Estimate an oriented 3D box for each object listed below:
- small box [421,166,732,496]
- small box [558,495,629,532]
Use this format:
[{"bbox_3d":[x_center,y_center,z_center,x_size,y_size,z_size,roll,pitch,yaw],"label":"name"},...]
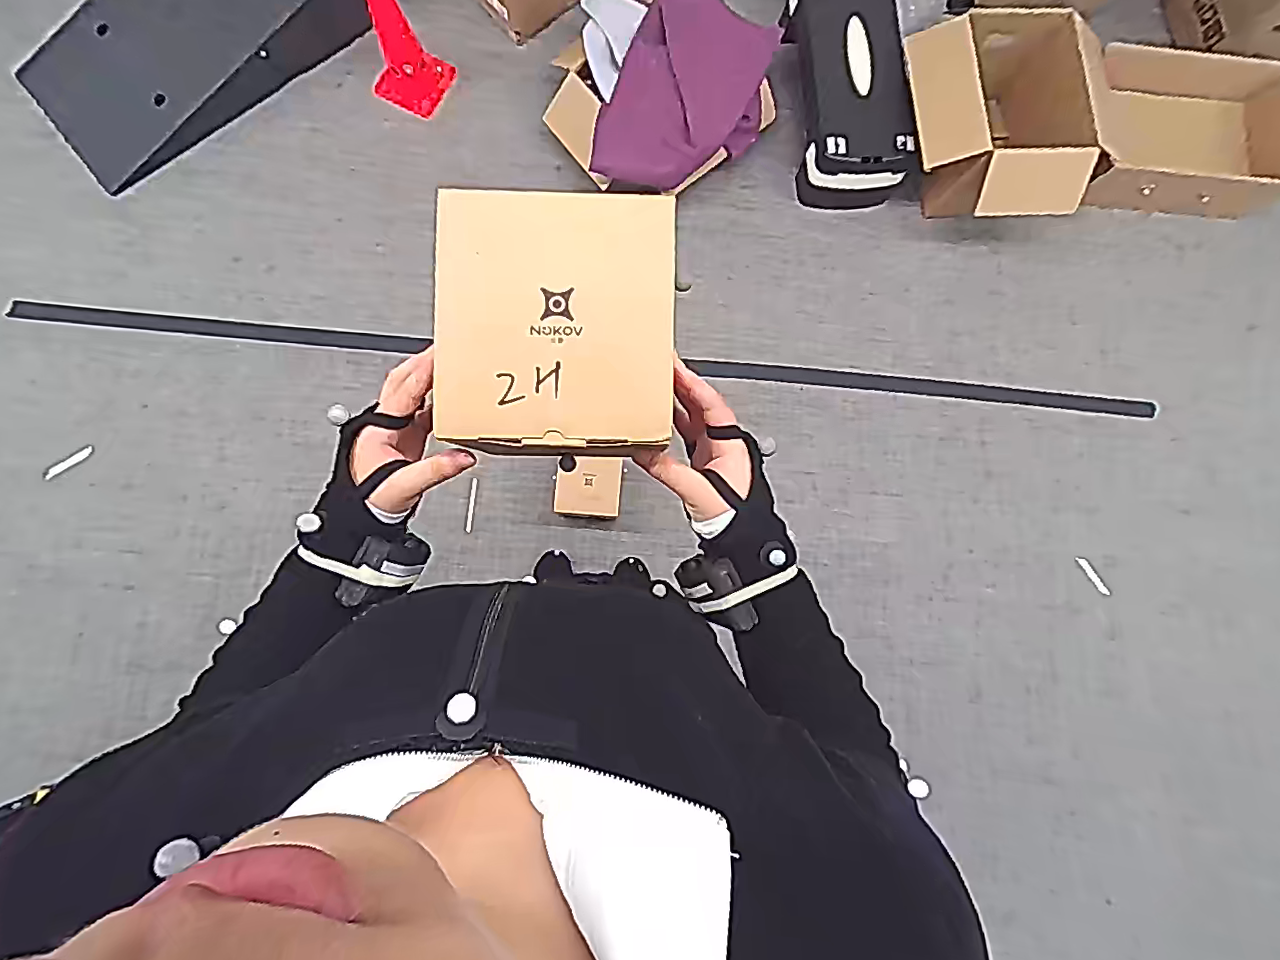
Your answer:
[{"bbox_3d":[-0.035,-0.078,0.369,0.168,0.176,0.179,0,89,-2],"label":"small box"},{"bbox_3d":[-0.113,0.039,1.372,0.168,0.176,0.179,4,84,-2],"label":"small box"}]
